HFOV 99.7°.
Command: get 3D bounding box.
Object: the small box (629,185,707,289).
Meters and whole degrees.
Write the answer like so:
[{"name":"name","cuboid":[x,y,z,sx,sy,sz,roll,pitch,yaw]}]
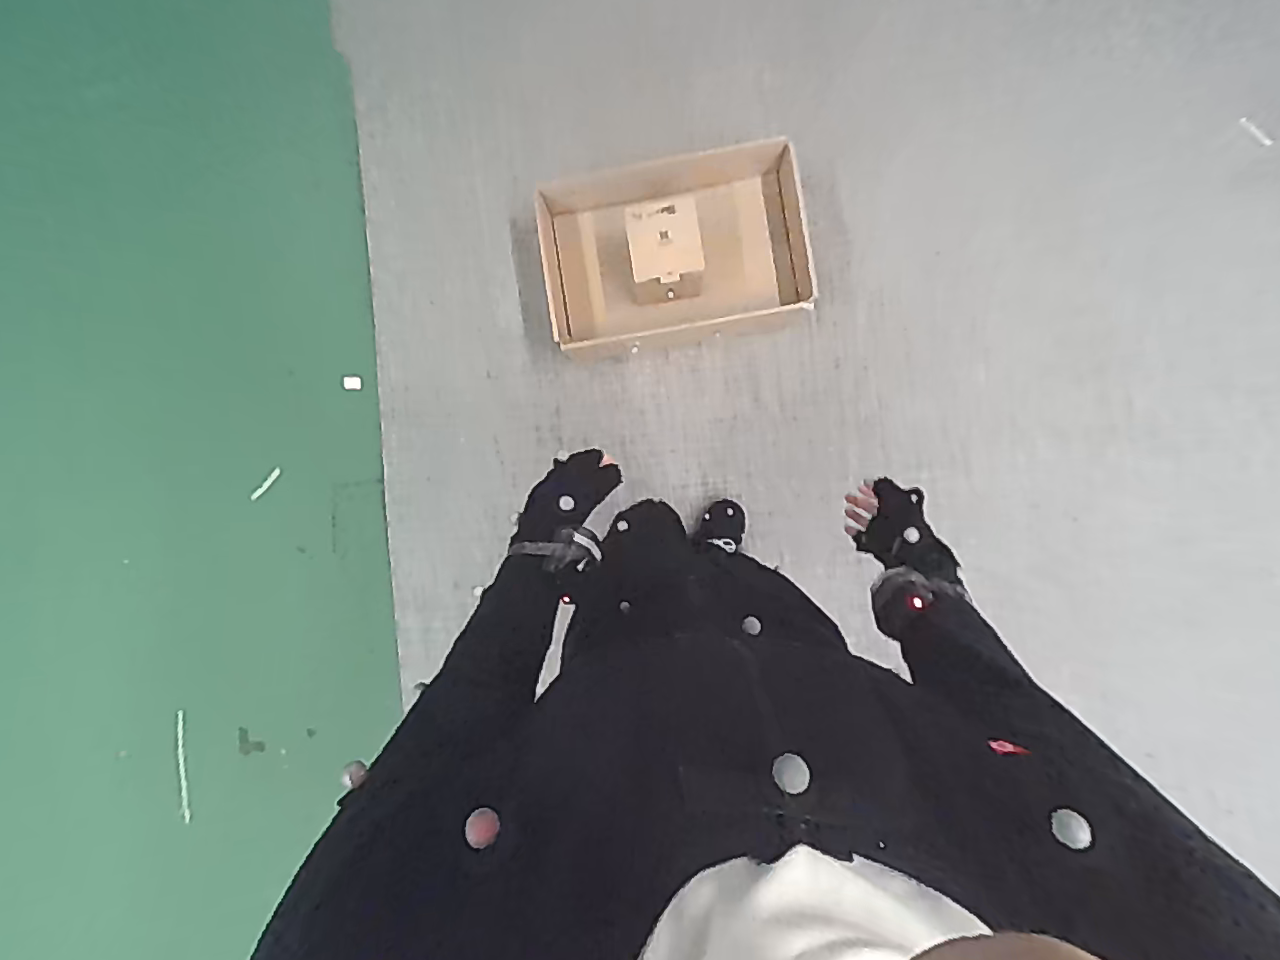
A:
[{"name":"small box","cuboid":[0.071,-0.577,1.311,0.168,0.176,0.179,-8,91,5]}]
